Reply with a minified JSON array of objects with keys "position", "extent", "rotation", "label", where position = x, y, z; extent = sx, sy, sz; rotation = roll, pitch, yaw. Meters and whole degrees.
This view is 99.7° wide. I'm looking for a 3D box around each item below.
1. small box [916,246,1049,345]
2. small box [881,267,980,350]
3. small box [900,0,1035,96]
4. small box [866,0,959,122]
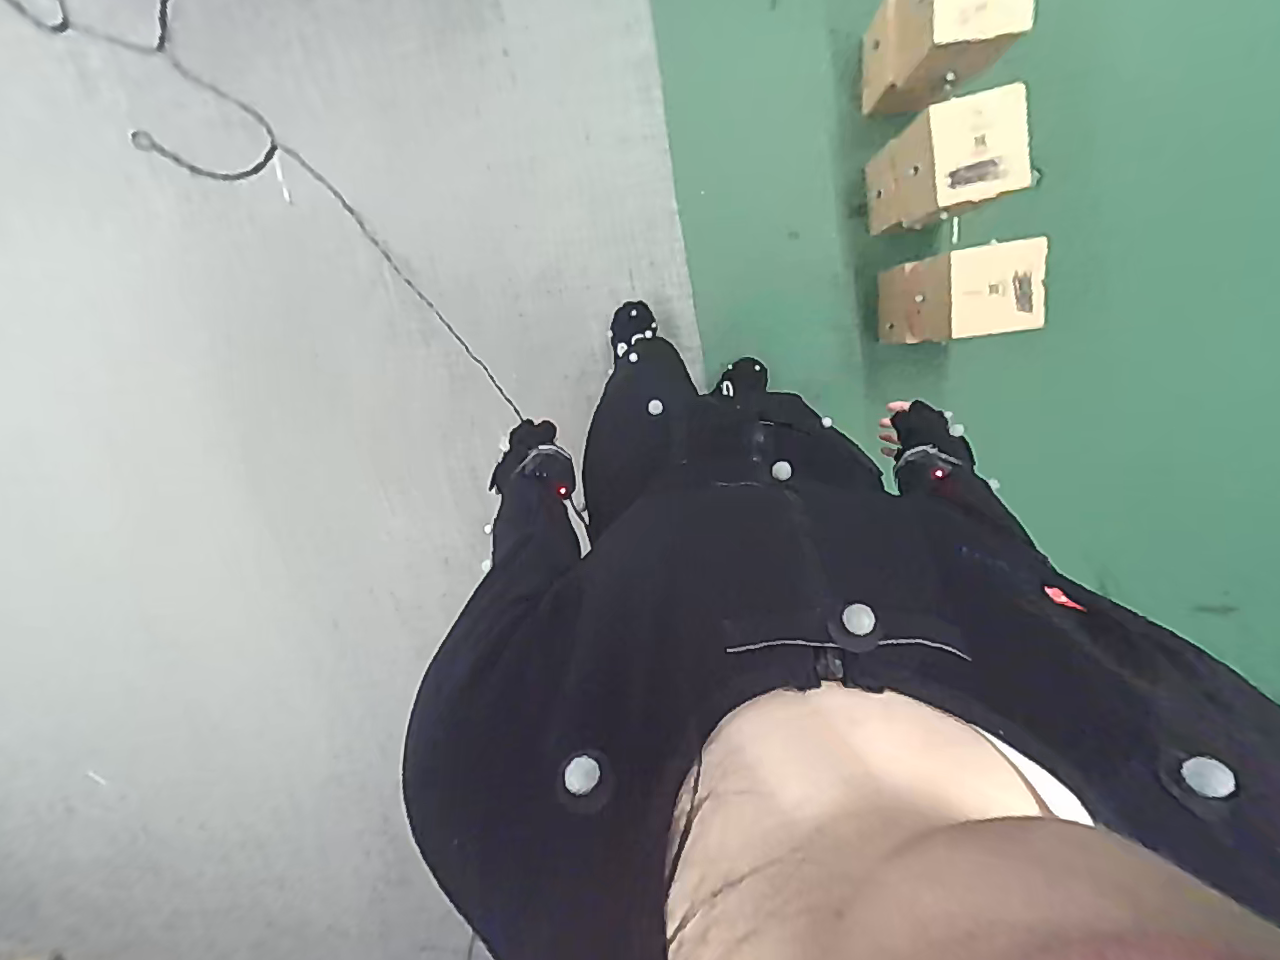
[{"position":[0.693,-0.371,1.111],"extent":[0.179,0.176,0.168],"rotation":[-6,102,5],"label":"small box"},{"position":[0.680,-0.403,1.272],"extent":[0.168,0.176,0.179],"rotation":[-5,102,5],"label":"small box"},{"position":[0.601,-0.861,1.009],"extent":[0.168,0.176,0.179],"rotation":[-4,102,5],"label":"small box"},{"position":[0.602,-0.903,1.169],"extent":[0.179,0.176,0.168],"rotation":[-3,102,4],"label":"small box"}]
